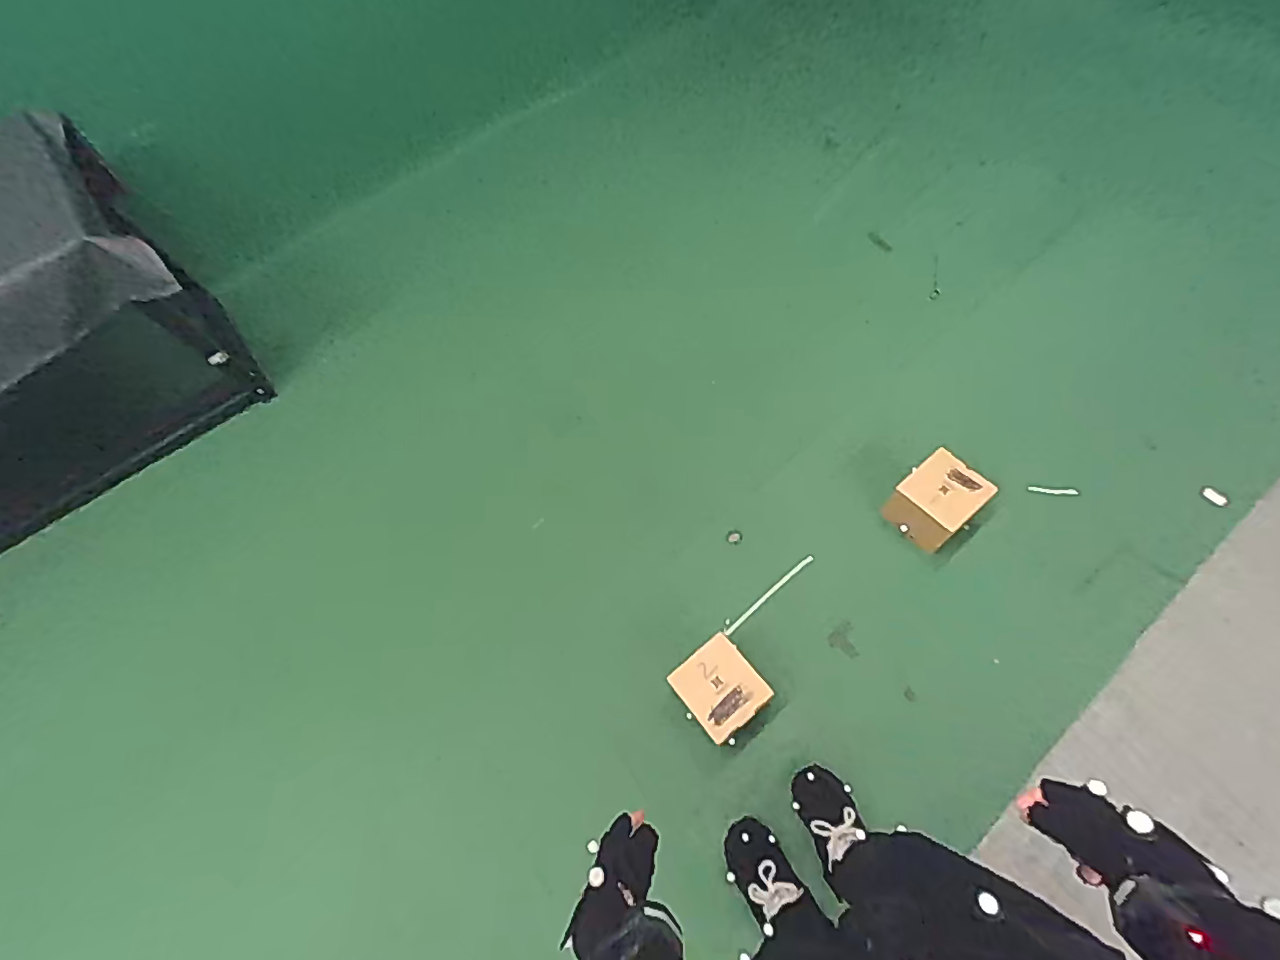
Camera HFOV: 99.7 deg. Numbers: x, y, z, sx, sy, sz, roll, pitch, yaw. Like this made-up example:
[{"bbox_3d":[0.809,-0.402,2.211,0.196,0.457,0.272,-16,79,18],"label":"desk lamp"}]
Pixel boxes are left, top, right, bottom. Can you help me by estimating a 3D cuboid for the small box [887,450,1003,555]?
[{"bbox_3d":[0.767,0.061,1.382,0.179,0.176,0.168,-38,64,-11],"label":"small box"}]
